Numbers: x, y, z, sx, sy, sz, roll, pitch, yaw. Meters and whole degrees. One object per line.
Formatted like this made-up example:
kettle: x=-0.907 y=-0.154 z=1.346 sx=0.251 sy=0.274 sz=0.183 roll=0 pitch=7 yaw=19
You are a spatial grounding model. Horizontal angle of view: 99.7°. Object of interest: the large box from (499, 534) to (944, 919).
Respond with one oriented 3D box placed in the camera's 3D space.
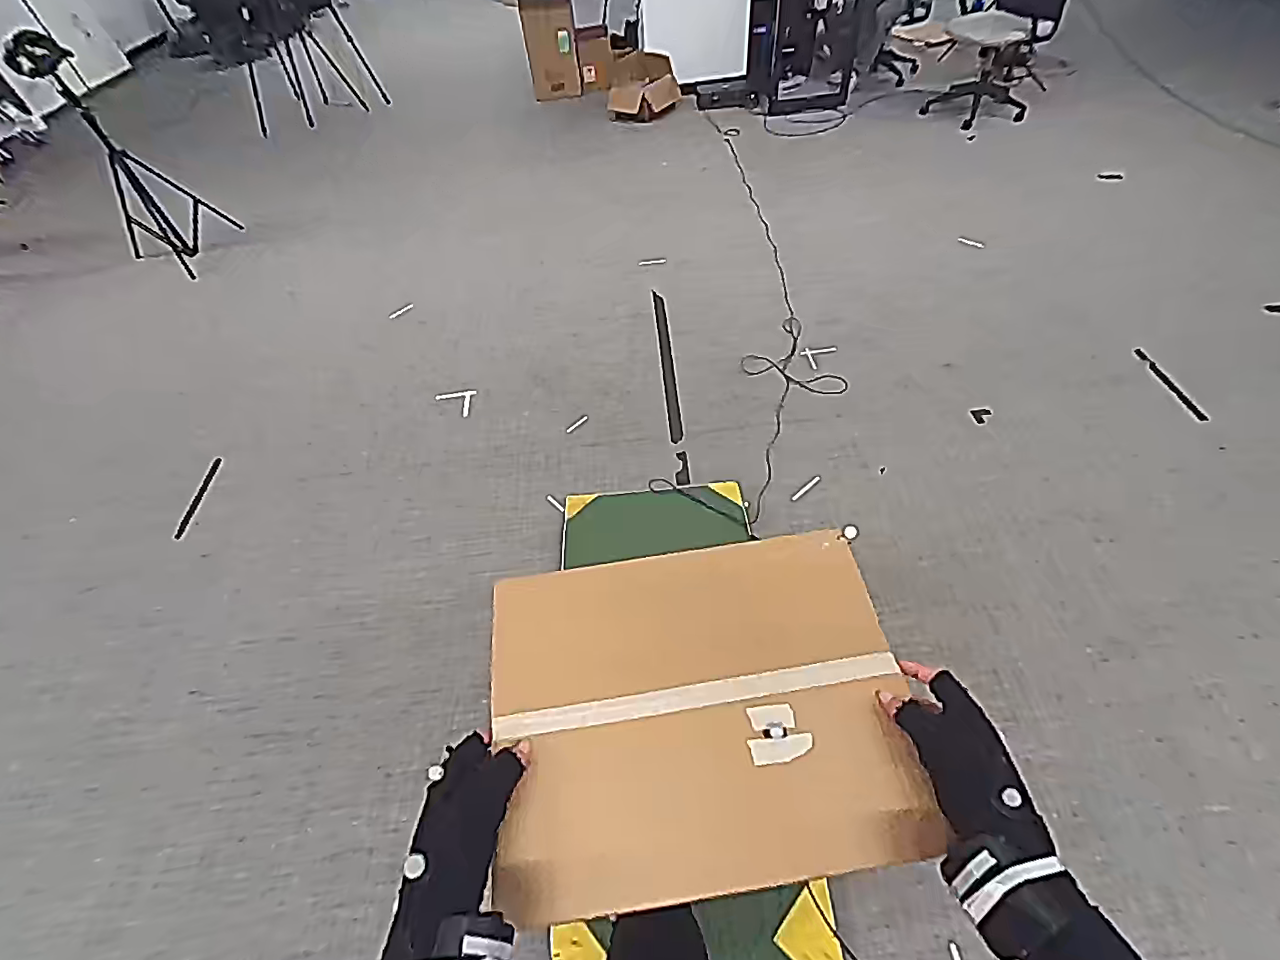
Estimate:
large box: x=0.061 y=0.303 z=0.676 sx=0.408 sy=0.320 sz=0.320 roll=-9 pitch=56 yaw=-3
